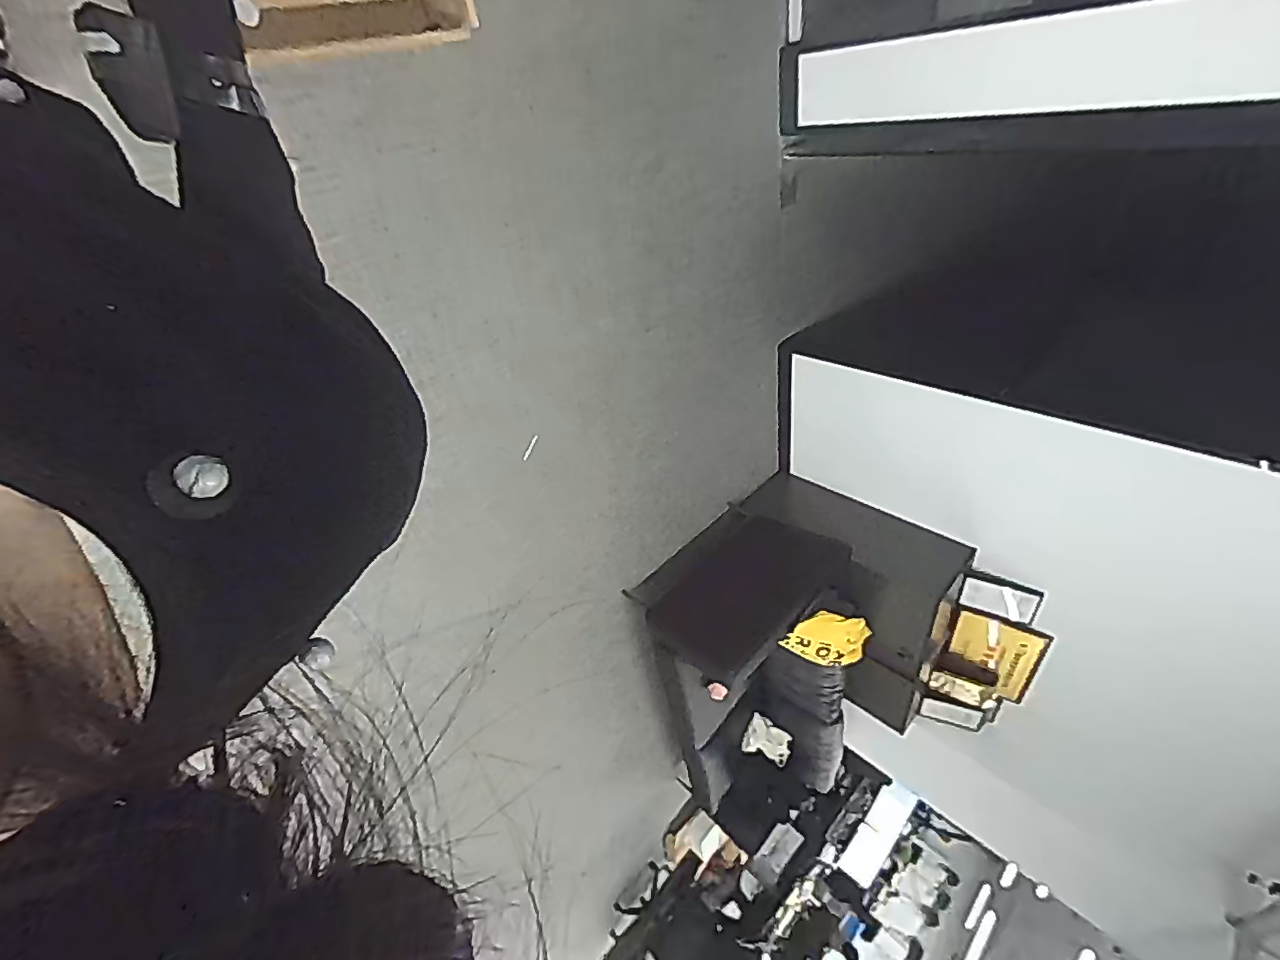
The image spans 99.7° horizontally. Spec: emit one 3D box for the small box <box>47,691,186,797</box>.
[{"bbox_3d":[-1.228,0.637,1.269,0.179,0.176,0.168,-37,134,-28],"label":"small box"}]
